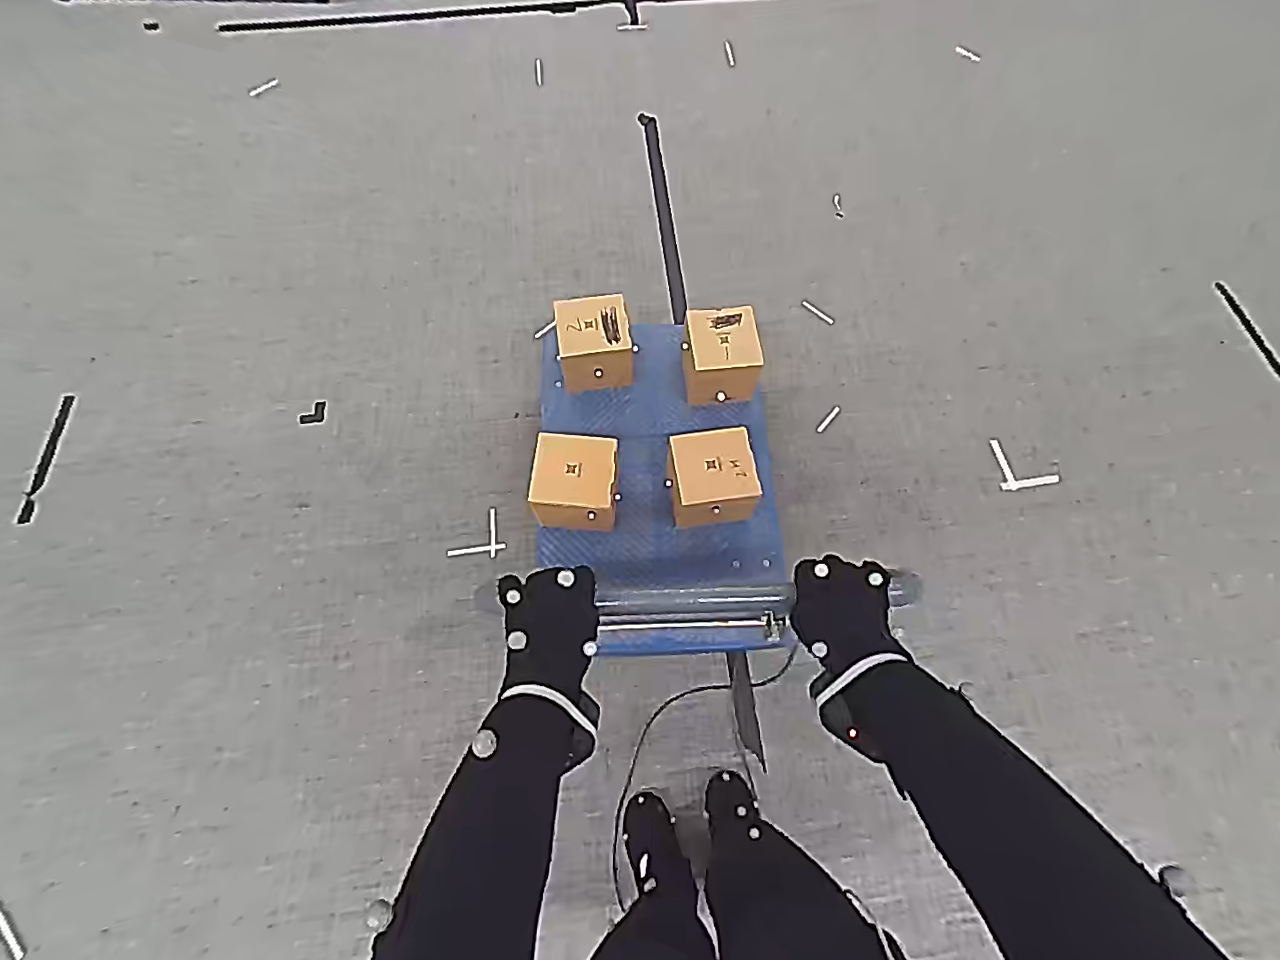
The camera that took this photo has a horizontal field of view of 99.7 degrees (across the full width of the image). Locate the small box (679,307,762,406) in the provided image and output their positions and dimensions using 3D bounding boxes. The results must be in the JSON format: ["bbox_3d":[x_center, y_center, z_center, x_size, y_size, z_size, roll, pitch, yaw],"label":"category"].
[{"bbox_3d":[0.195,-0.307,1.360,0.168,0.176,0.179,-6,69,-3],"label":"small box"}]

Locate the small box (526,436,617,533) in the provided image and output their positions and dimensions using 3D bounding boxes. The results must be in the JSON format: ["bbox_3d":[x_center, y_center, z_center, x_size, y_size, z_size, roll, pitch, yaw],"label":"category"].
[{"bbox_3d":[-0.147,0.015,1.225,0.179,0.176,0.168,4,67,0],"label":"small box"}]

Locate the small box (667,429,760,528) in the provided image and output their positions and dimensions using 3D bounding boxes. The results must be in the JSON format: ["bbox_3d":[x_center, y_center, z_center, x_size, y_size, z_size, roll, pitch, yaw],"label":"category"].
[{"bbox_3d":[0.157,0.002,1.231,0.179,0.176,0.168,-8,68,-3],"label":"small box"}]
